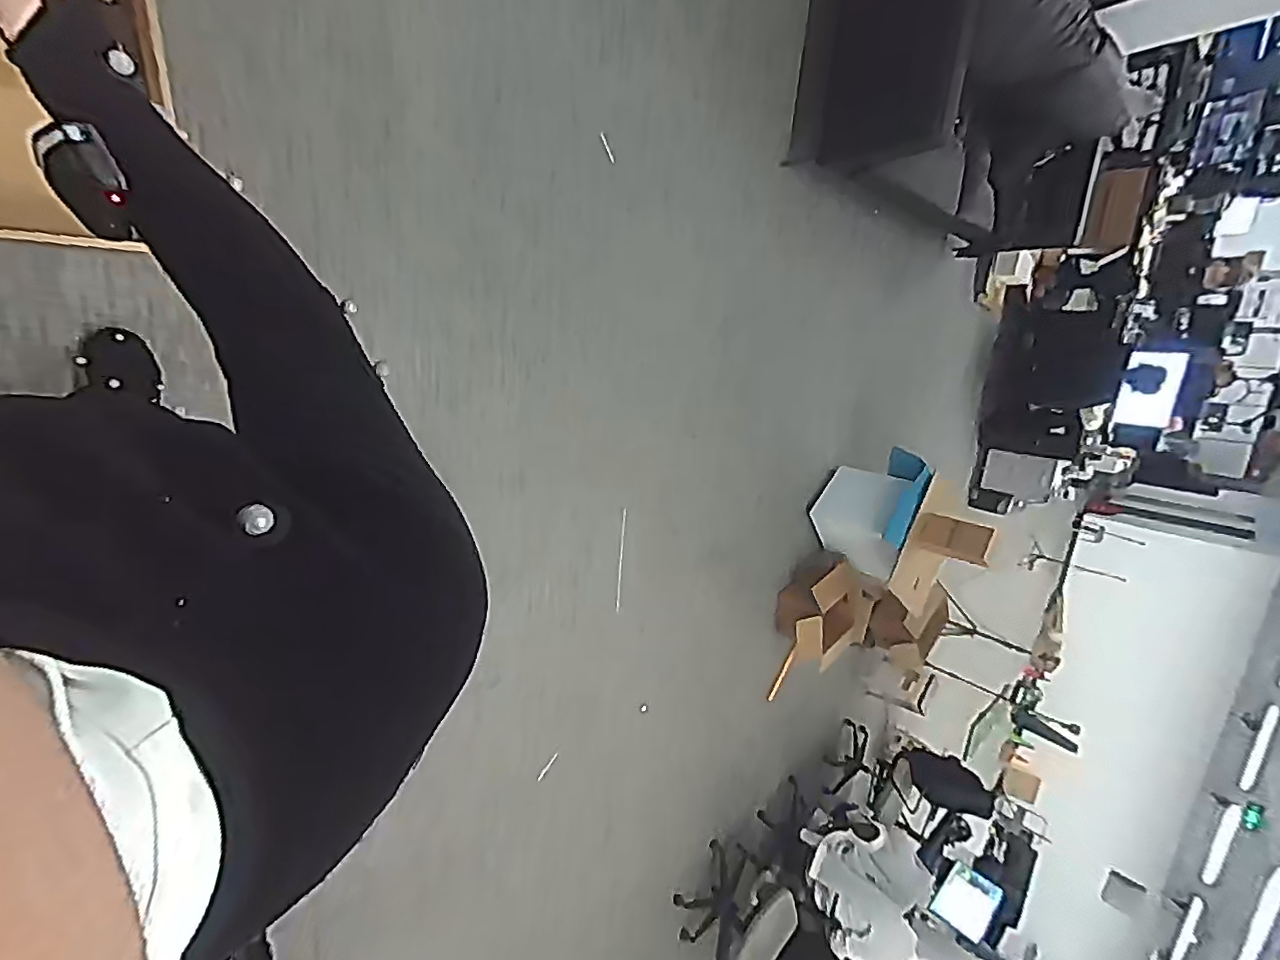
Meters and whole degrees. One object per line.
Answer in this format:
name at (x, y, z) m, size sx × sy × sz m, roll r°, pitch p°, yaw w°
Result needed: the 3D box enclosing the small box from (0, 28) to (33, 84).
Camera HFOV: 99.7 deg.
small box at (-0.844, -0.602, 0.619) m, size 0.168 × 0.176 × 0.179 m, roll -10°, pitch 109°, yaw -40°
